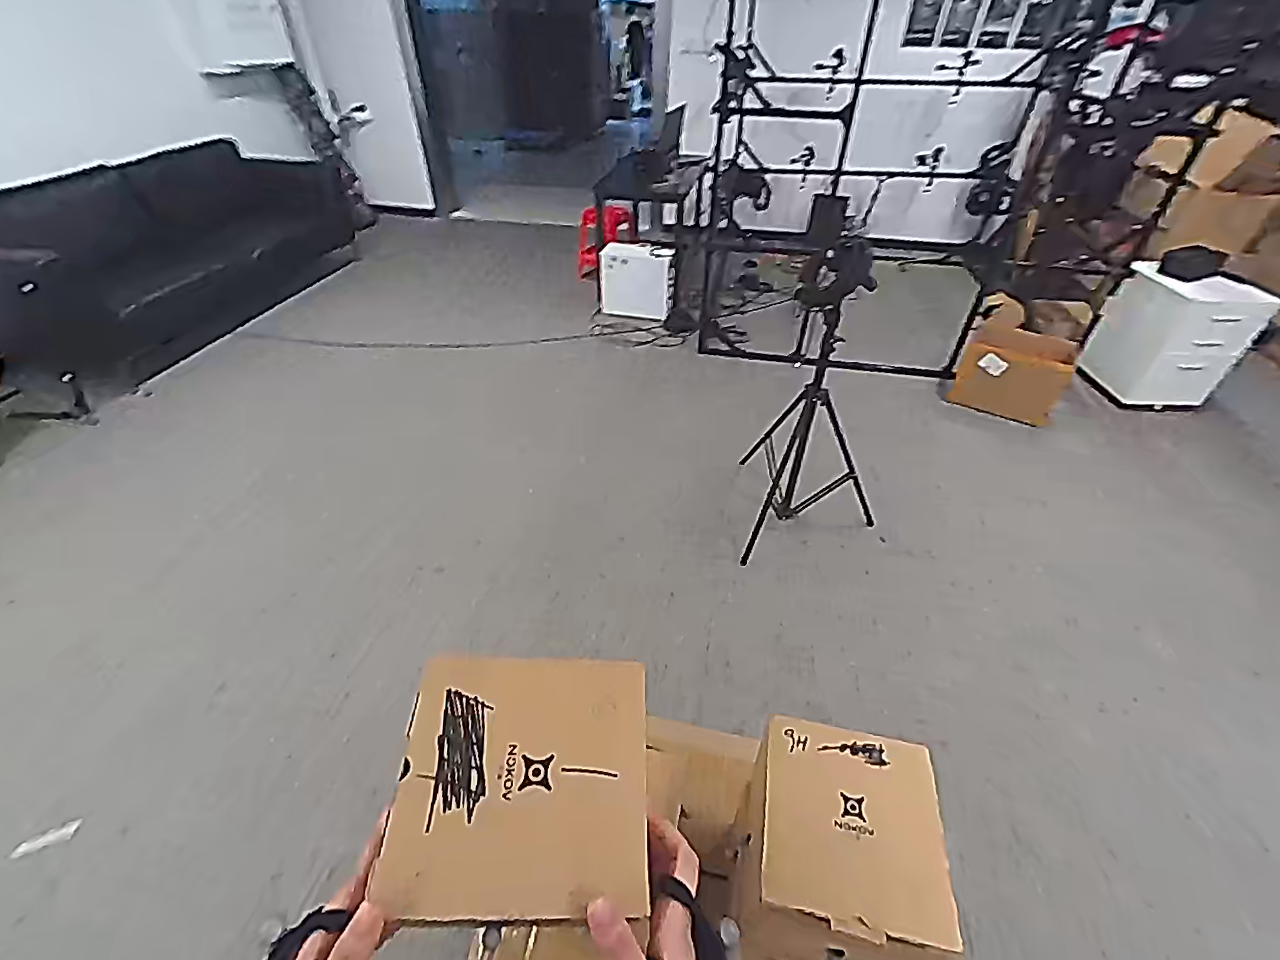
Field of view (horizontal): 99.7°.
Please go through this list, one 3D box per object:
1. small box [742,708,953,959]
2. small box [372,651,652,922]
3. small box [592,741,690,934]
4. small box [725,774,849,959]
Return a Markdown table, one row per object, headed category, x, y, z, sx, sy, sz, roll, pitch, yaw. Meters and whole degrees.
| category | x | y | z | sx | sy | sz | roll | pitch | yaw |
| --- | --- | --- | --- | --- | --- | --- | --- | --- | --- |
| small box | 0.203 | 0.379 | 0.573 | 0.168 | 0.176 | 0.179 | 8 | 42 | 11 |
| small box | -0.088 | 0.255 | 0.446 | 0.179 | 0.176 | 0.168 | 4 | 50 | -6 |
| small box | -0.031 | 0.466 | 0.725 | 0.168 | 0.176 | 0.179 | 8 | 42 | 9 |
| small box | 0.200 | 0.507 | 0.676 | 0.168 | 0.176 | 0.179 | 7 | 41 | 10 |
